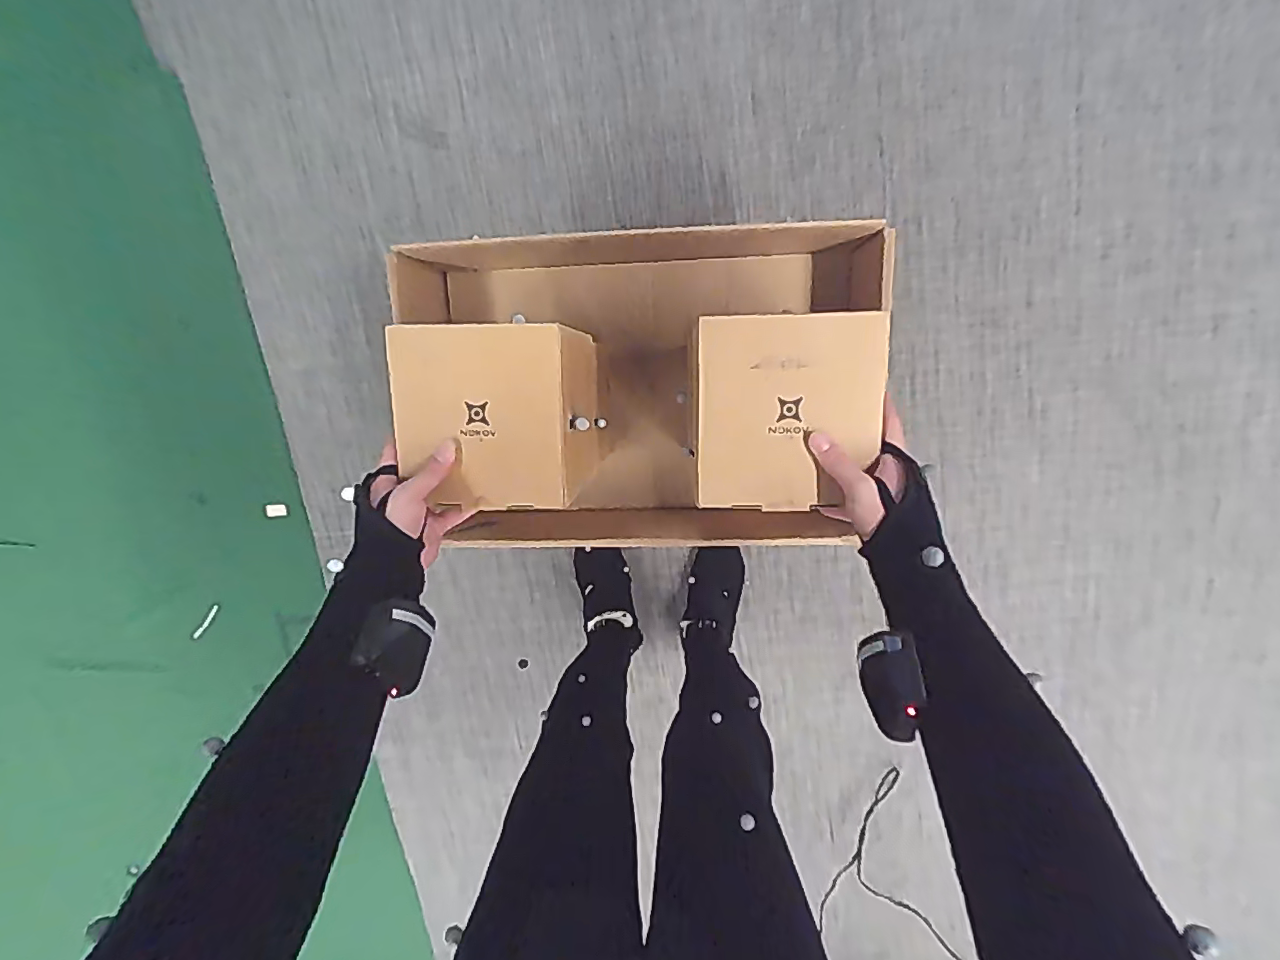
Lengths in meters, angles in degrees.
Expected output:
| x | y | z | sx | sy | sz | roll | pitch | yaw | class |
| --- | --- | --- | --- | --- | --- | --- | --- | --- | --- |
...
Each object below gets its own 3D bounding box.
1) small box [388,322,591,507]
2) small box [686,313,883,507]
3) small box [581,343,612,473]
| x | y | z | sx | sy | sz | roll | pitch | yaw | class |
| --- | --- | --- | --- | --- | --- | --- | --- | --- | --- |
| -0.150 | -0.075 | 0.595 | 0.168 | 0.176 | 0.179 | 0 | 102 | 5 | small box |
| 0.135 | -0.076 | 0.566 | 0.168 | 0.176 | 0.179 | 0 | 100 | 3 | small box |
| -0.139 | -0.105 | 0.756 | 0.179 | 0.176 | 0.168 | 2 | 102 | 4 | small box |
